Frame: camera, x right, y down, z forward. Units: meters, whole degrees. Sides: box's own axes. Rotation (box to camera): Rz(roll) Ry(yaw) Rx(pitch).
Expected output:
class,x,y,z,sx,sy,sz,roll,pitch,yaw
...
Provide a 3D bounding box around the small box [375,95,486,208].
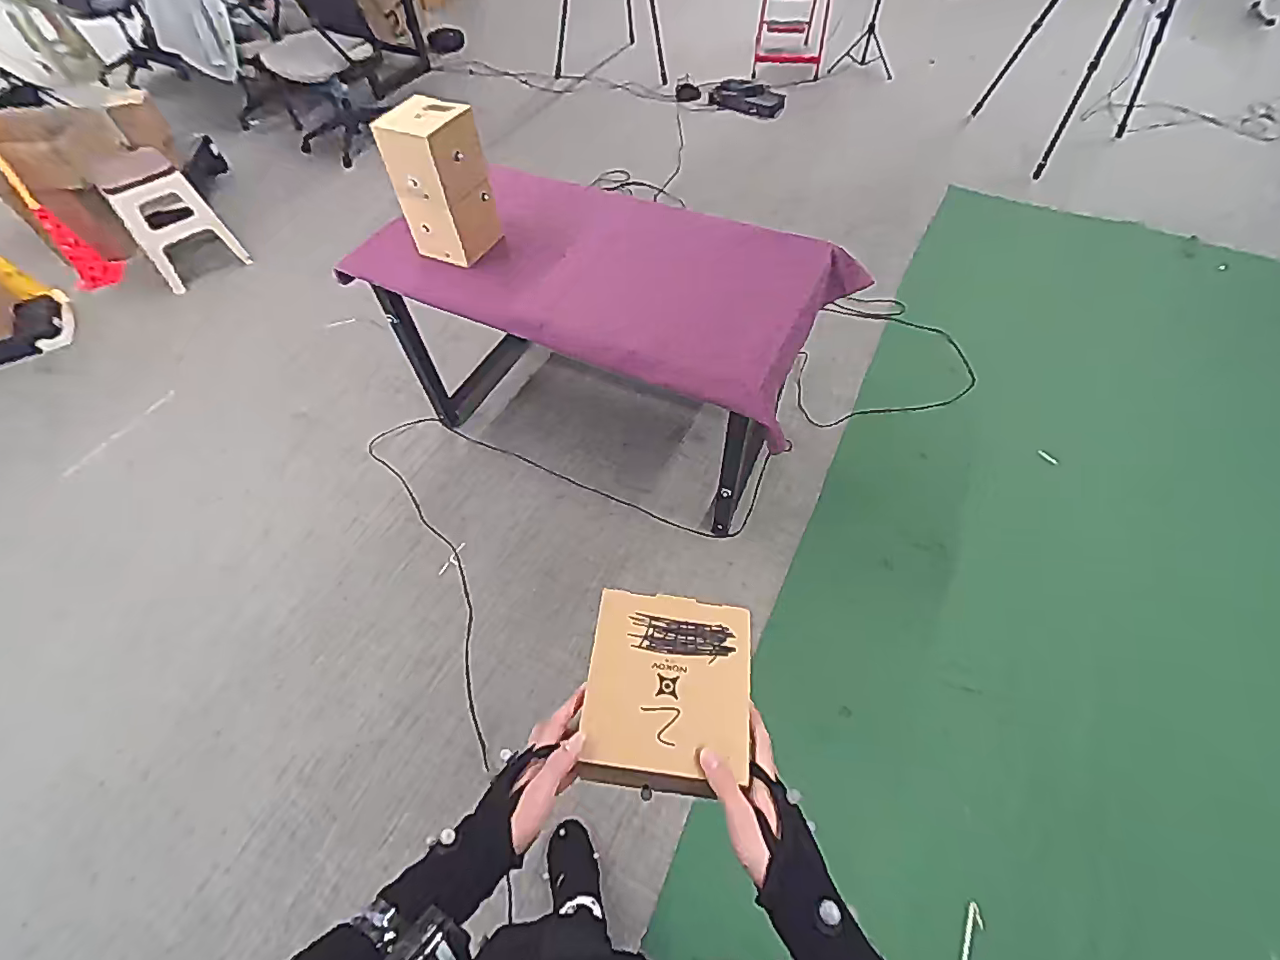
class,x,y,z,sx,sy,sz,roll,pitch,yaw
small box,-0.499,-0.803,1.325,0.168,0.176,0.179,21,59,16

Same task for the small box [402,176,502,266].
class,x,y,z,sx,sy,sz,roll,pitch,yaw
small box,-0.496,-0.708,1.459,0.168,0.176,0.179,20,58,15
